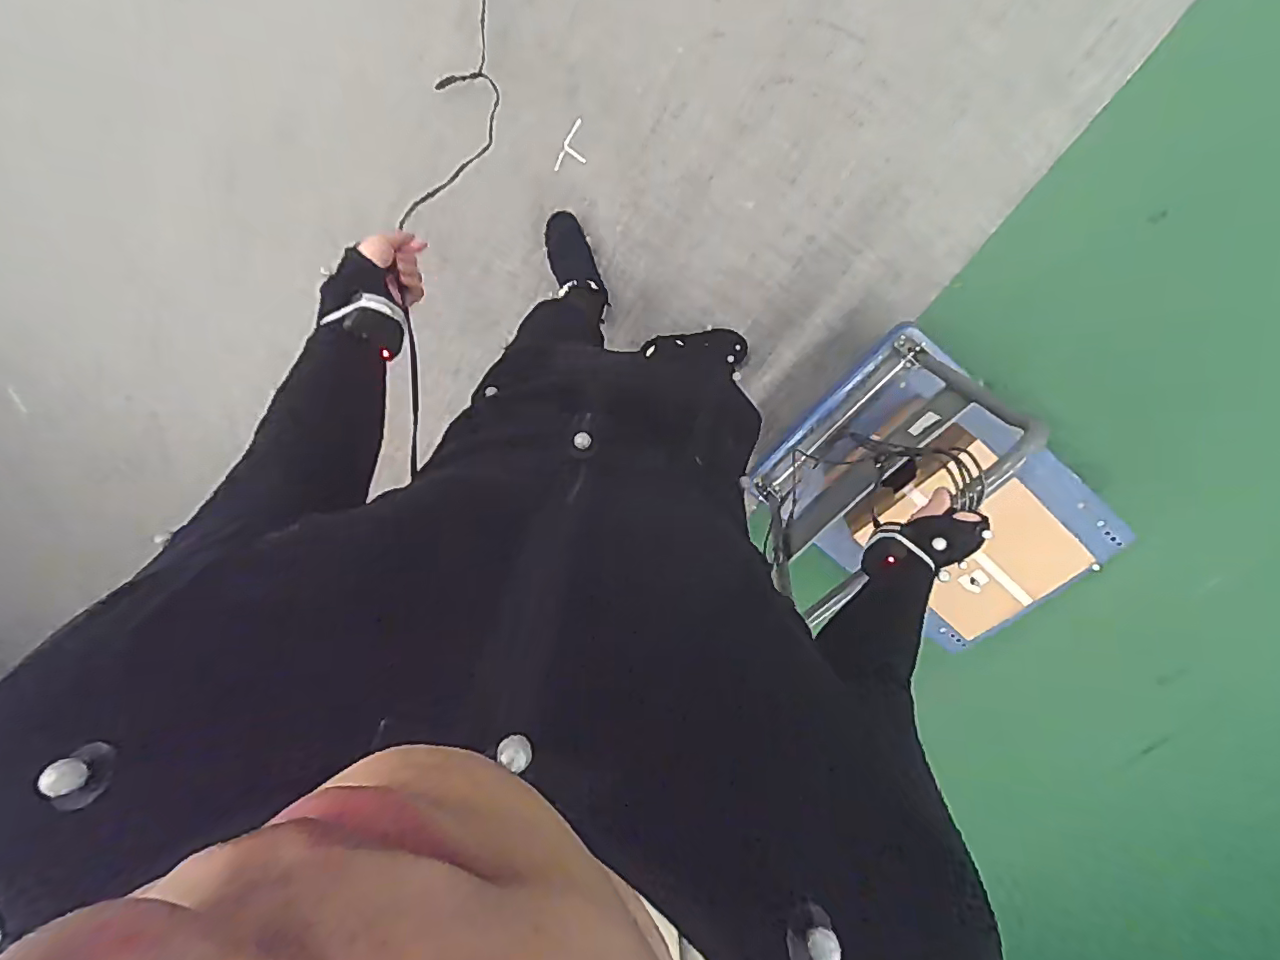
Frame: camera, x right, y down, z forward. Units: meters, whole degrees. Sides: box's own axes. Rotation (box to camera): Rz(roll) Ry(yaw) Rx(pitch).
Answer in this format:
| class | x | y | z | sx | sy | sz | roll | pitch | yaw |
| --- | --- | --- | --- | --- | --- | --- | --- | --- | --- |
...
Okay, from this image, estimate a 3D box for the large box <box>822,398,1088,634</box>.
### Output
| class | x | y | z | sx | sy | sz | roll | pitch | yaw |
| --- | --- | --- | --- | --- | --- | --- | --- | --- | --- |
| large box | 0.710 | 0.075 | 1.285 | 0.408 | 0.320 | 0.320 | 40 | 114 | -13 |
